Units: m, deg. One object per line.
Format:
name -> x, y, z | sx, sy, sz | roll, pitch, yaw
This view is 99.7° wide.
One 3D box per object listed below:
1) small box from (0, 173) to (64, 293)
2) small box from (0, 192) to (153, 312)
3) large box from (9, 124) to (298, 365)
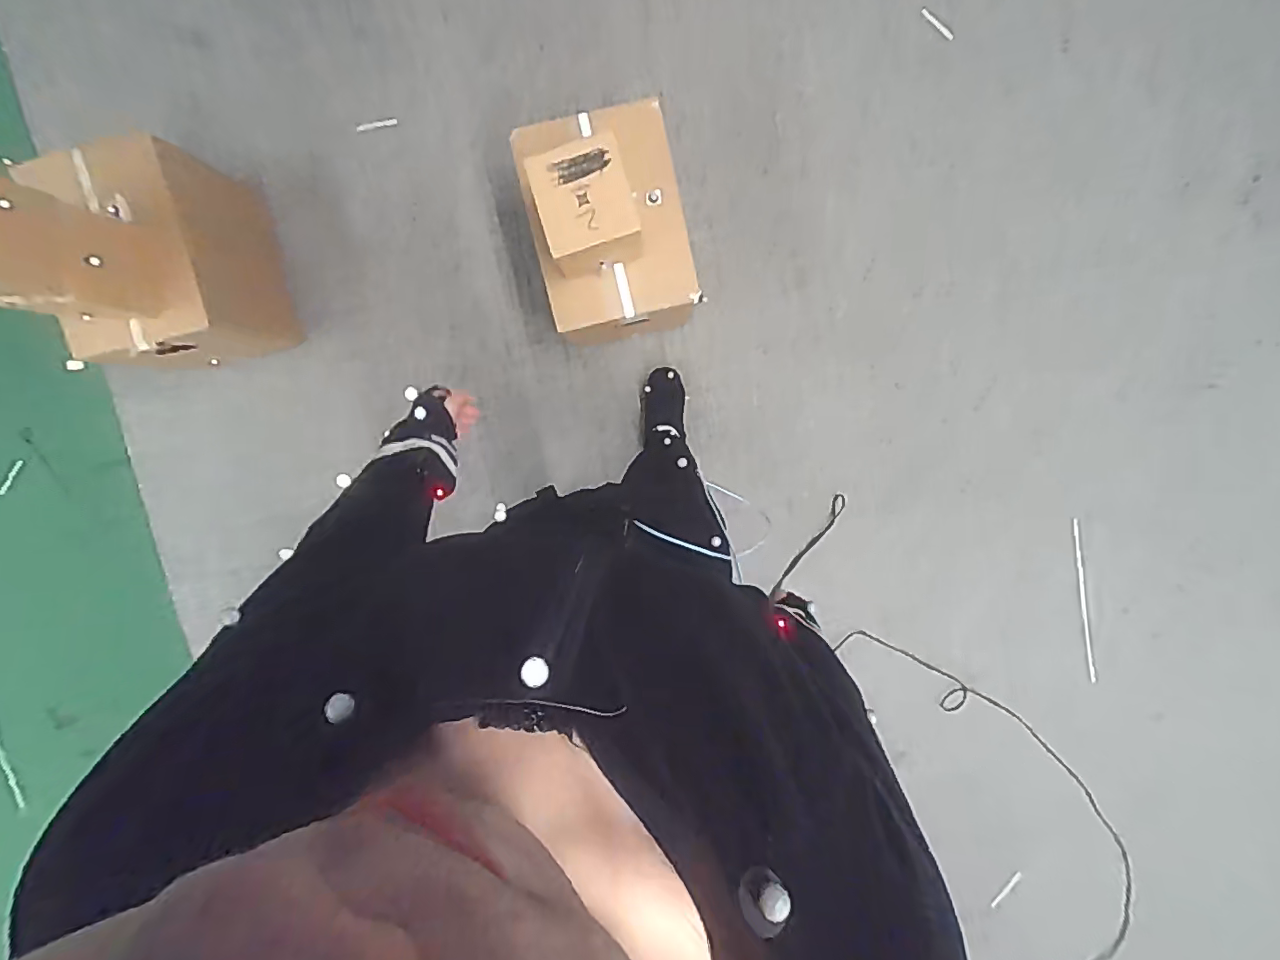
small box -> -1.098, -0.411, 0.869 | 0.168, 0.176, 0.179 | 2, 99, 1
small box -> -1.089, -0.426, 1.031 | 0.168, 0.176, 0.179 | -1, 98, 1
large box -> -1.091, -0.511, 1.264 | 0.320, 0.320, 0.408 | -12, 97, 2
